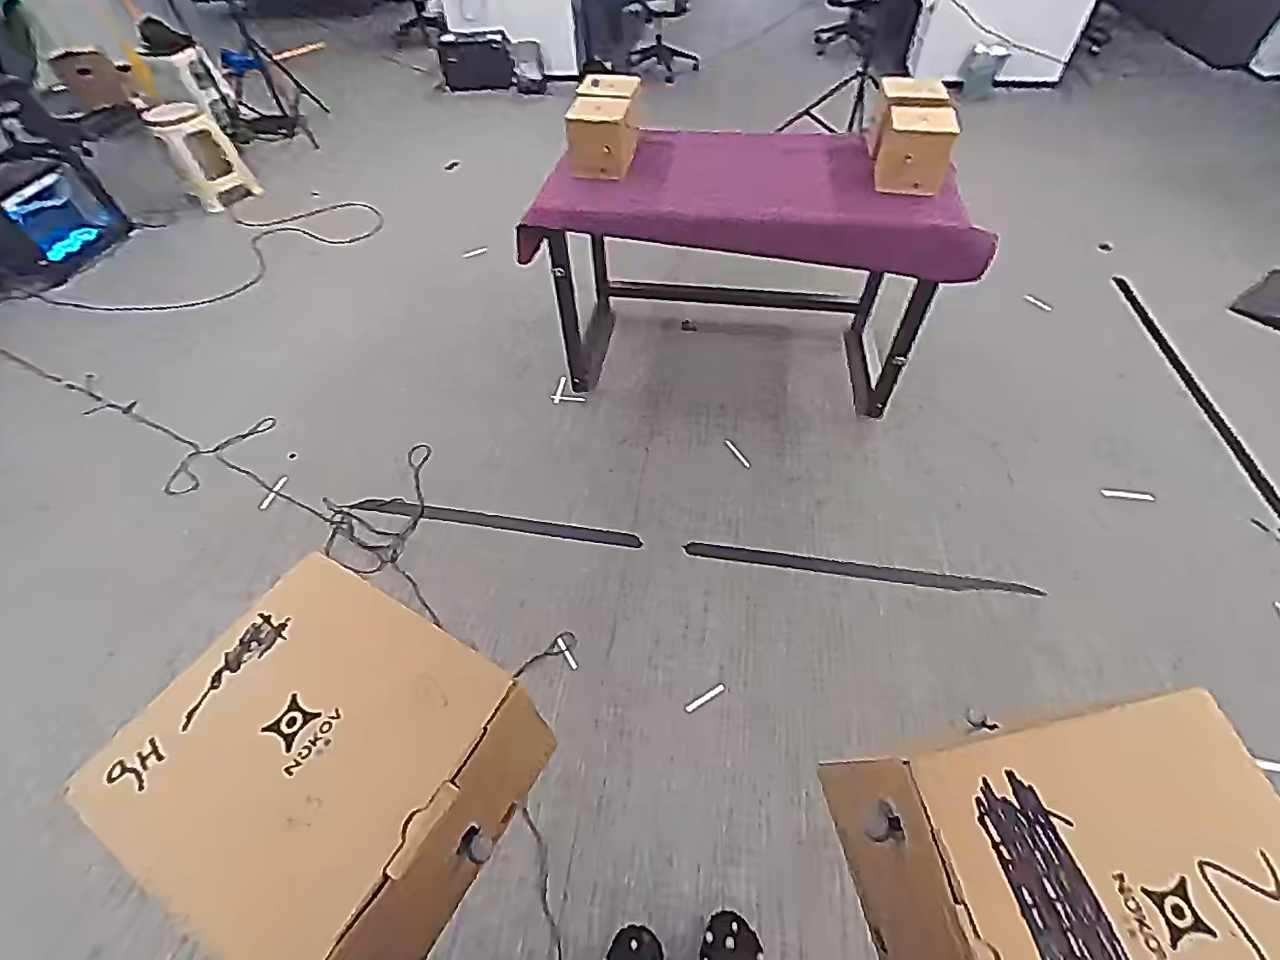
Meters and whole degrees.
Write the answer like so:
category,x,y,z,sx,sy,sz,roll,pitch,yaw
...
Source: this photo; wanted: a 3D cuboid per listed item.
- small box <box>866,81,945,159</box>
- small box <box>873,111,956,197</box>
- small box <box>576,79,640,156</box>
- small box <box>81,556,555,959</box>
category,x,y,z,sx,sy,sz,roll,pitch,yaw
small box,0.813,-1.110,1.677,0.179,0.176,0.168,7,54,7
small box,0.778,-0.932,1.547,0.168,0.176,0.179,10,52,11
small box,-0.099,-1.191,1.781,0.179,0.176,0.168,9,55,7
small box,-0.175,0.186,0.359,0.179,0.176,0.168,25,58,17
